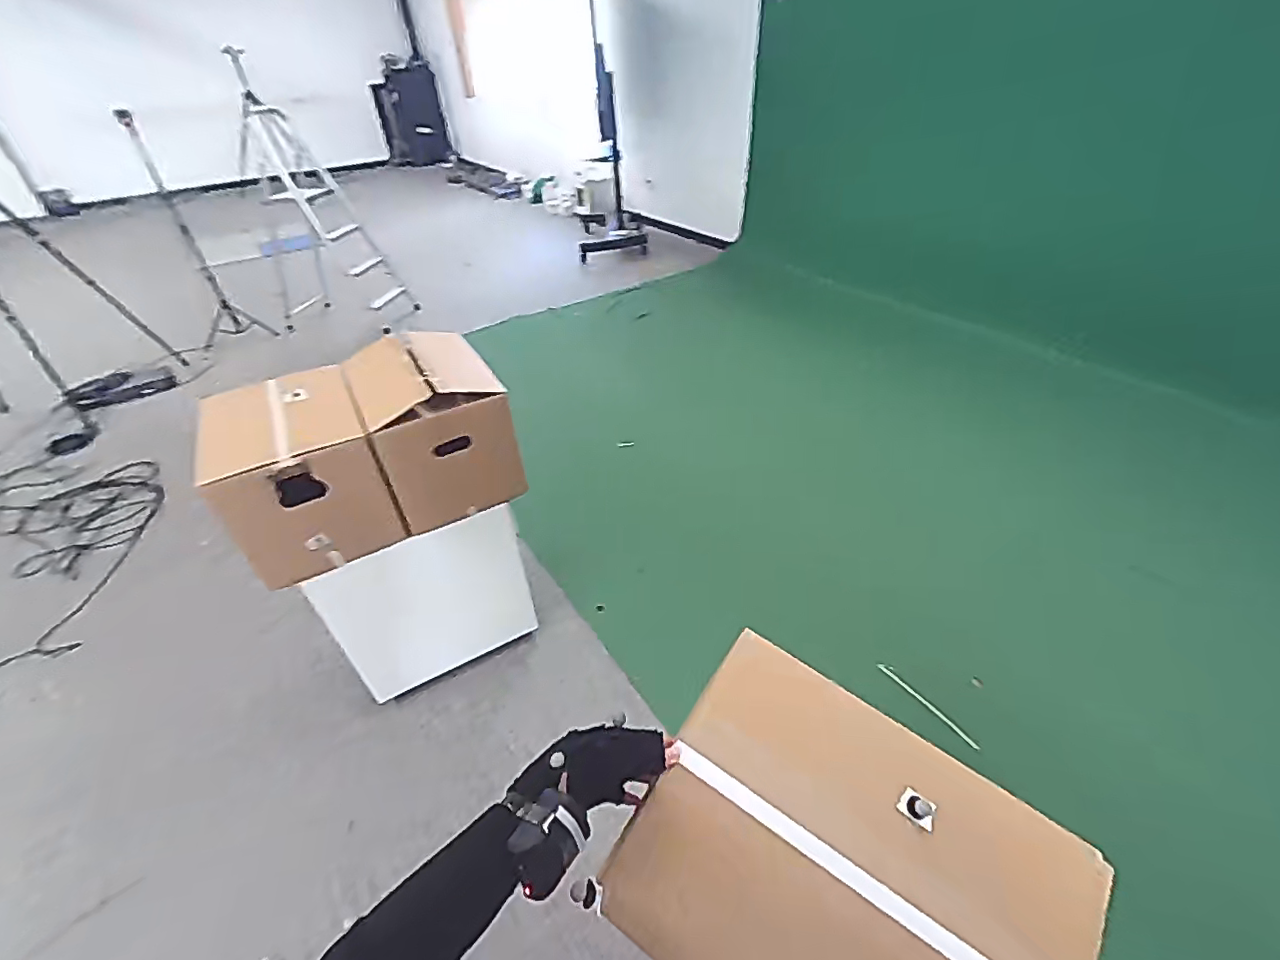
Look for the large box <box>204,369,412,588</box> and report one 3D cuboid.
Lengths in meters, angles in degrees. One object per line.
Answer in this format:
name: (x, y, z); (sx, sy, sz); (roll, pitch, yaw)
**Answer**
large box: (-0.800, -0.020, 1.316); (0.320, 0.320, 0.408); (-22, 42, -23)
